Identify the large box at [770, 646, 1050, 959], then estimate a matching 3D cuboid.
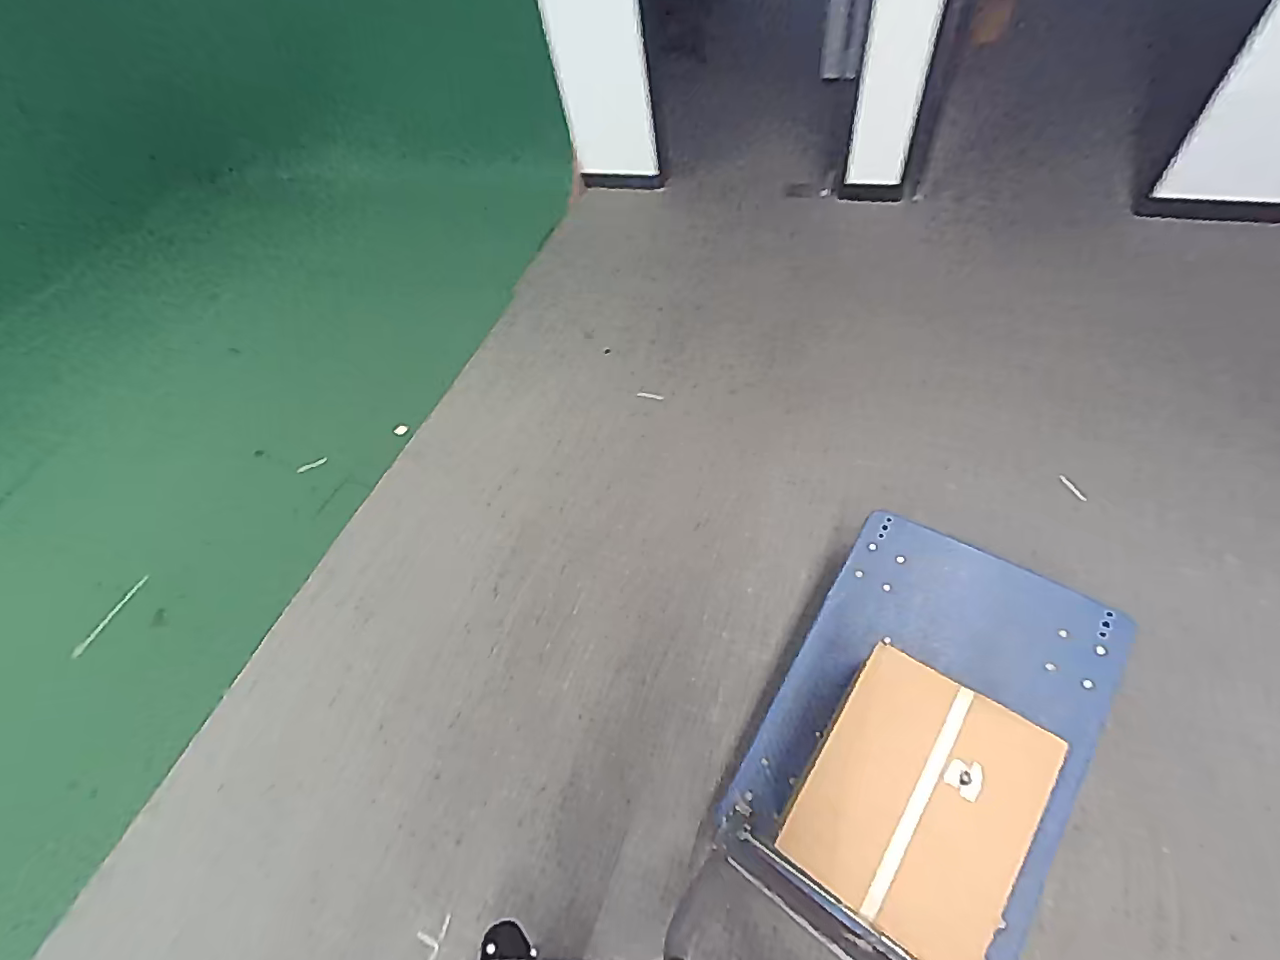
[{"bbox_3d":[0.484,0.598,1.032,0.320,0.320,0.408,29,74,25],"label":"large box"}]
